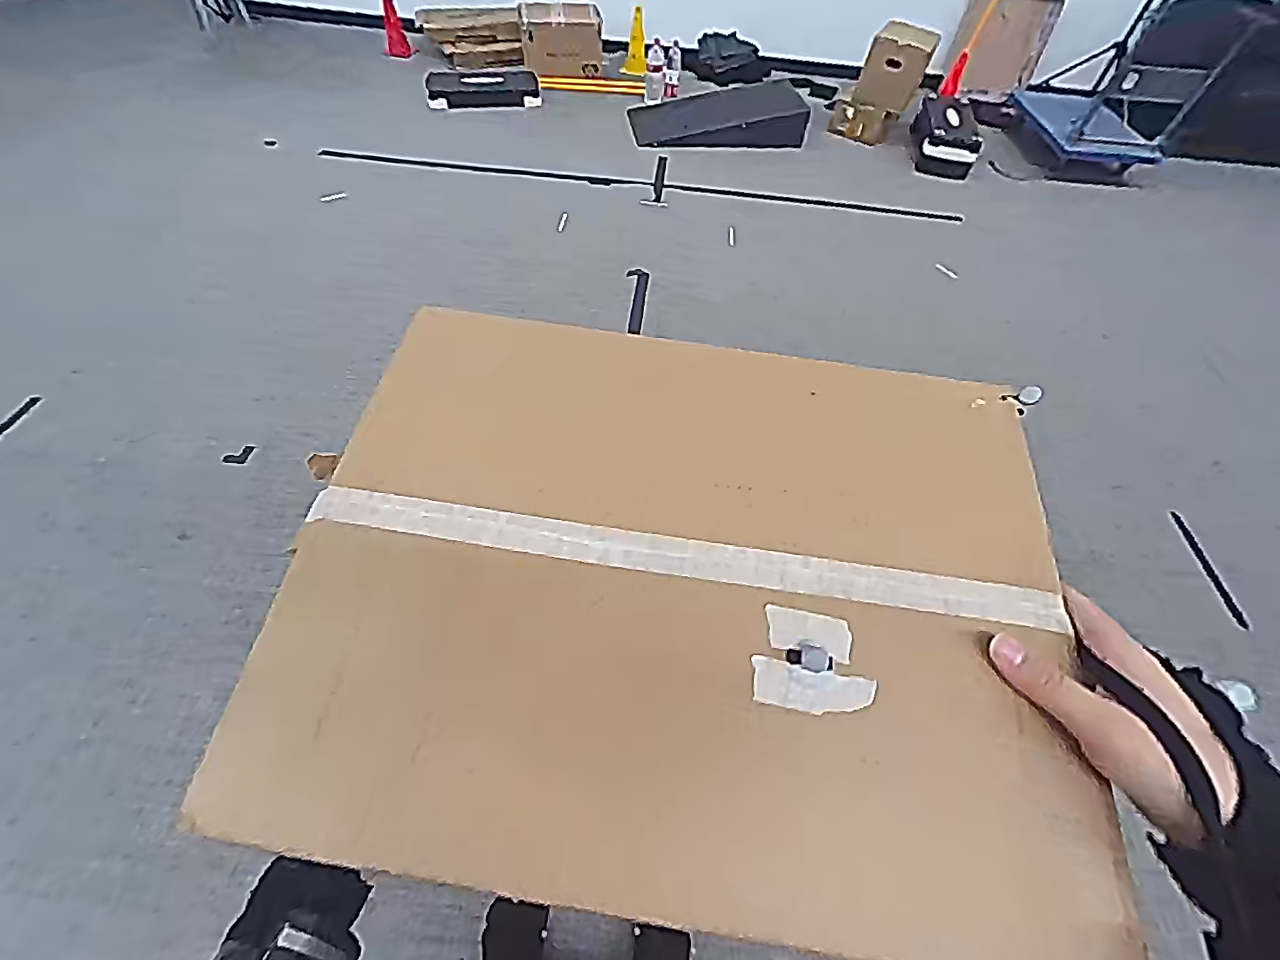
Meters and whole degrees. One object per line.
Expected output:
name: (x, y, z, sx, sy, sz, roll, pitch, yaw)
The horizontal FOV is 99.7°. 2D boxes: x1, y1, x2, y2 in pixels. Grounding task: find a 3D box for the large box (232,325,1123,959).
large box: (0.024, 0.120, 0.437, 0.408, 0.320, 0.320, 9, 62, 2)
